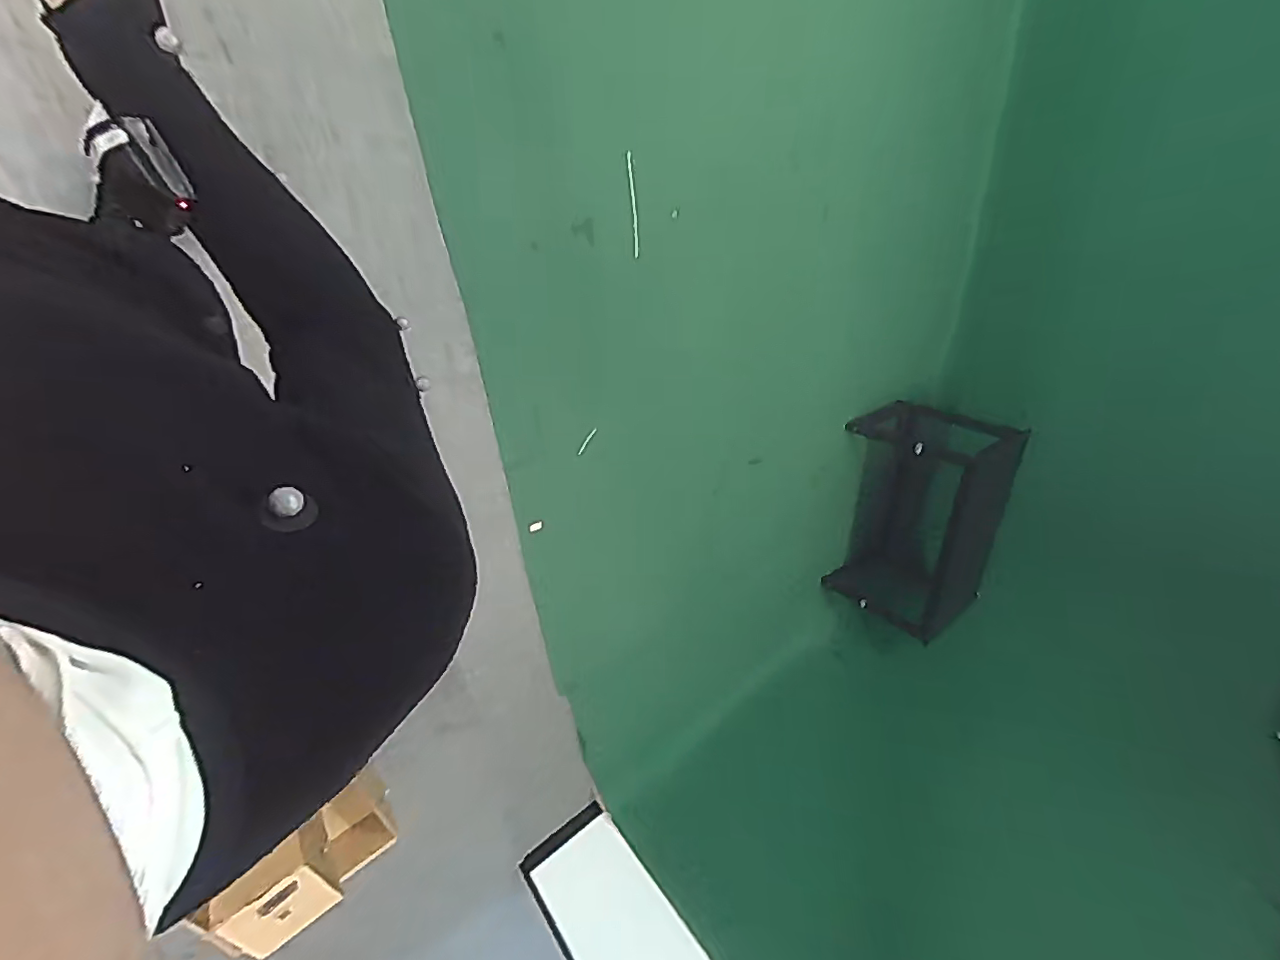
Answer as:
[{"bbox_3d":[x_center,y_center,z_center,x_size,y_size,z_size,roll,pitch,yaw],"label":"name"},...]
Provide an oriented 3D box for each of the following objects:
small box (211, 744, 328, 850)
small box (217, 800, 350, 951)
[{"bbox_3d":[-0.852,0.757,1.250,0.168,0.176,0.179,-29,129,-28],"label":"small box"},{"bbox_3d":[-0.750,0.819,1.137,0.168,0.176,0.179,-30,131,-26],"label":"small box"}]
